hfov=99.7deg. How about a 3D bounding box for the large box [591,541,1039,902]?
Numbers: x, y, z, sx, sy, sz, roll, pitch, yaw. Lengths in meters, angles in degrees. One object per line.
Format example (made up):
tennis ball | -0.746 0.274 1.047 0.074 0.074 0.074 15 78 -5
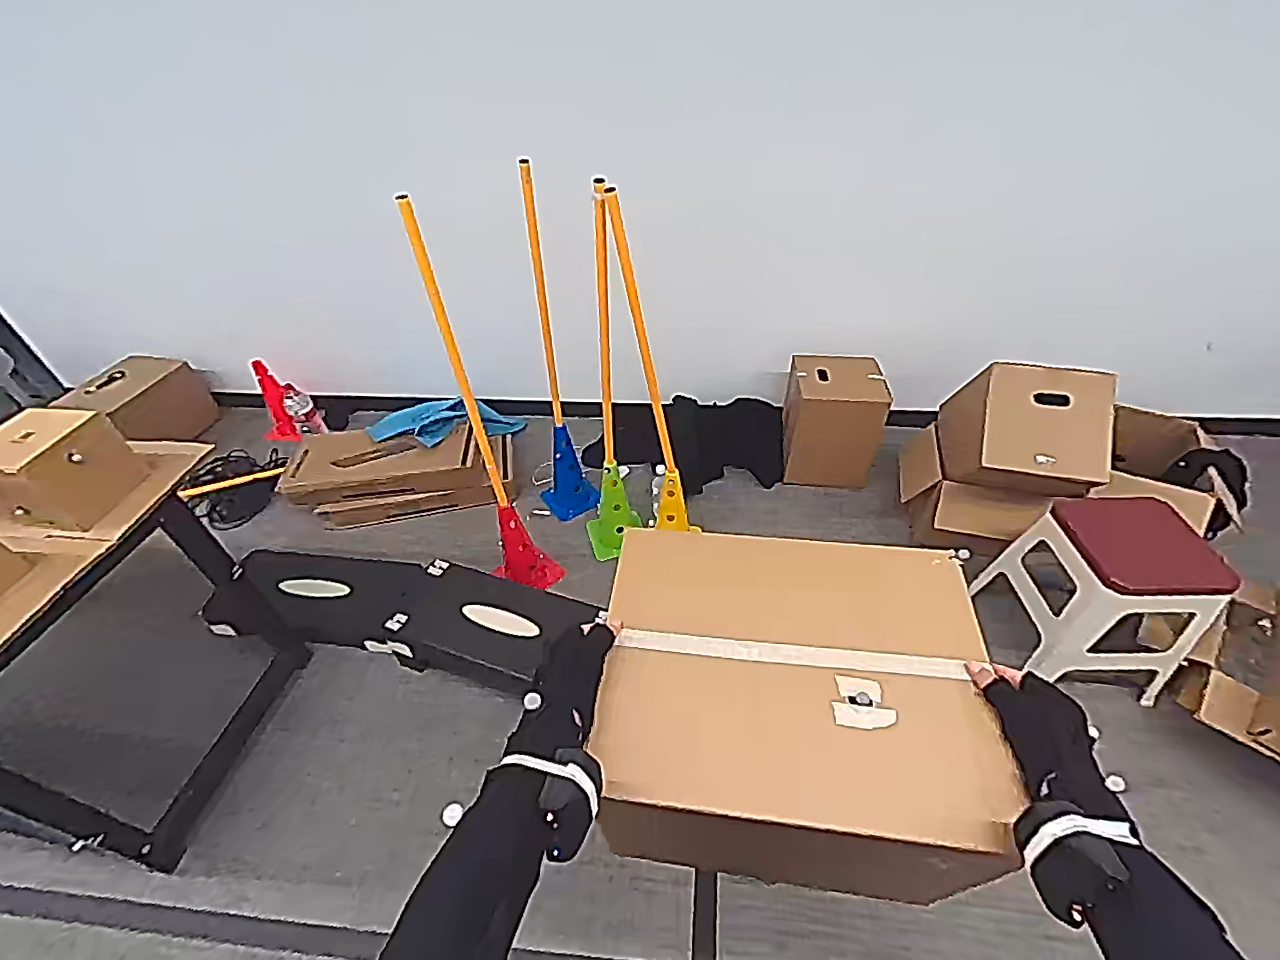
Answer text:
large box | 0.173 0.303 0.693 0.408 0.320 0.320 4 47 8
